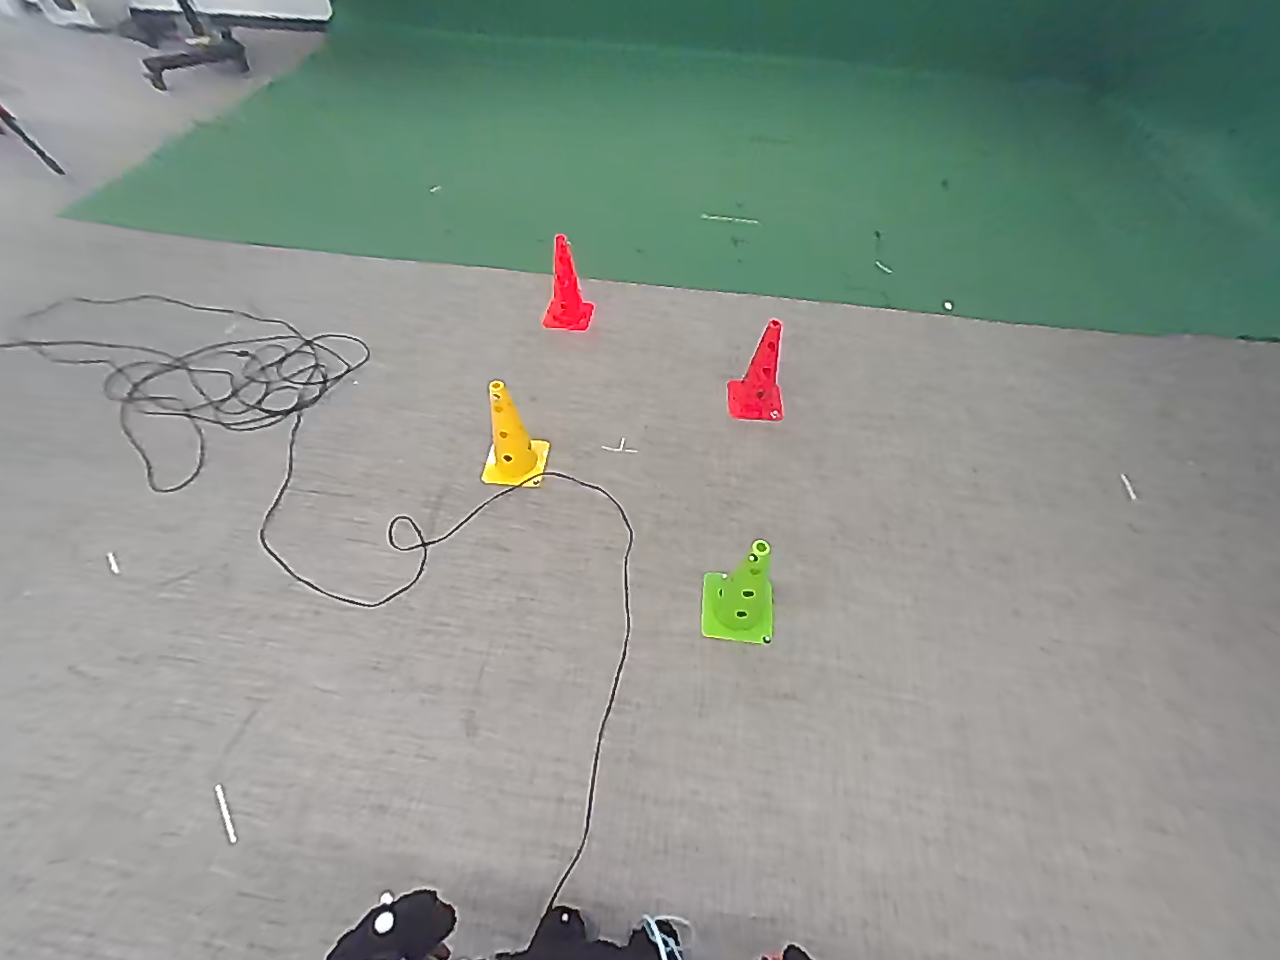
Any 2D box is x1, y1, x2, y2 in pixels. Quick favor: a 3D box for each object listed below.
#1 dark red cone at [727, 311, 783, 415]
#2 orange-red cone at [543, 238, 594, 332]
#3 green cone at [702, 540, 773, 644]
[{"bbox_3d":[0.434,-0.417,1.900,0.202,0.394,0.201,3,52,1],"label":"dark red cone"},{"bbox_3d":[-0.308,-0.809,2.205,0.198,0.360,0.199,7,54,5],"label":"orange-red cone"},{"bbox_3d":[0.280,0.263,1.418,0.202,0.368,0.200,5,53,4],"label":"green cone"}]
